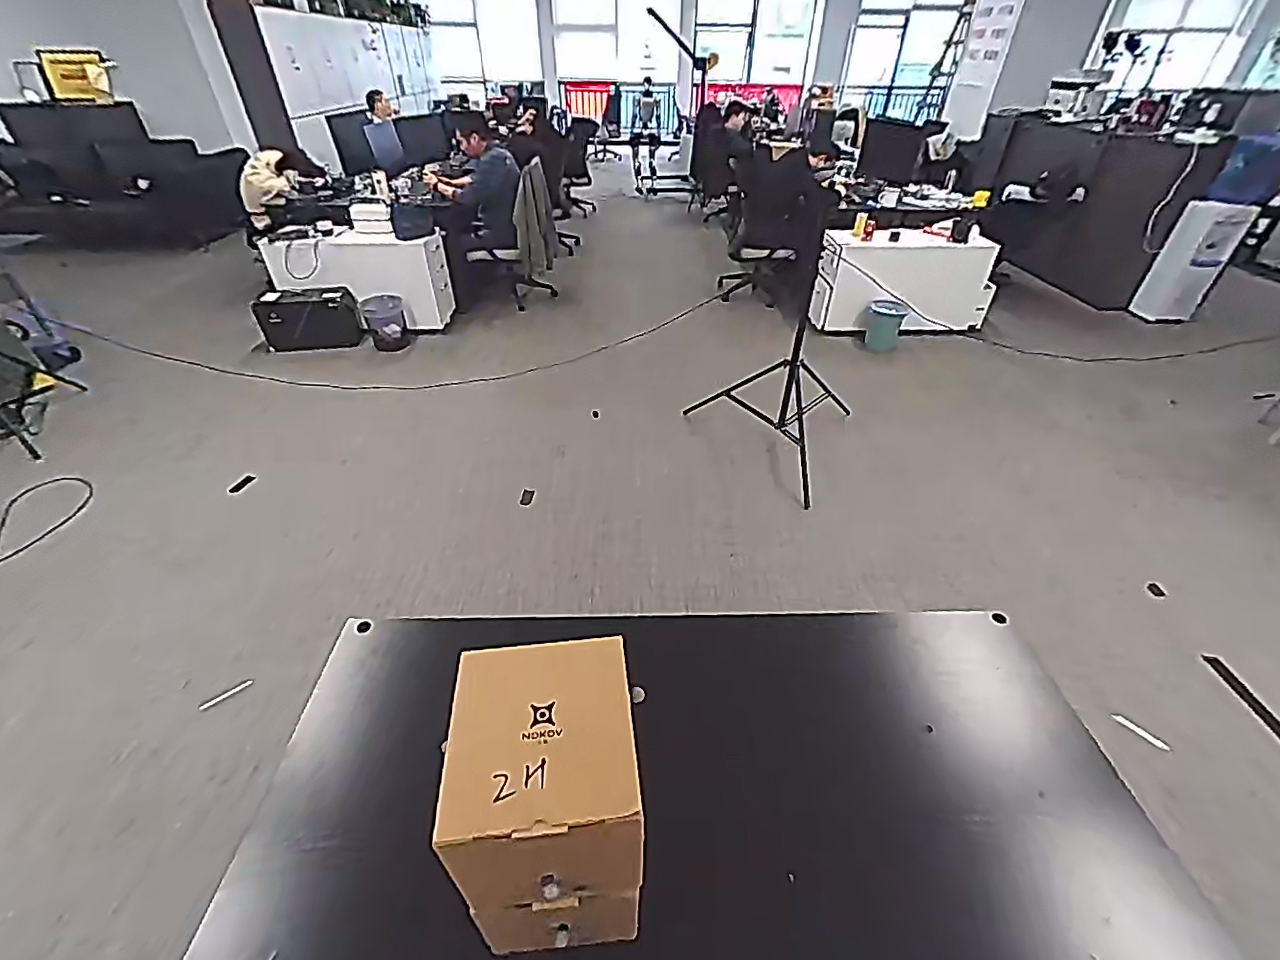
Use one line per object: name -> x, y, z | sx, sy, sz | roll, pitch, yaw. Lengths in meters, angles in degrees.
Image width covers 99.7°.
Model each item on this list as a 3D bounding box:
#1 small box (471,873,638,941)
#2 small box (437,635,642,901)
small box -> -0.091, 0.418, 0.644 | 0.168, 0.176, 0.179 | -3, 38, -4
small box -> -0.090, 0.284, 0.546 | 0.168, 0.176, 0.179 | -5, 38, -5
